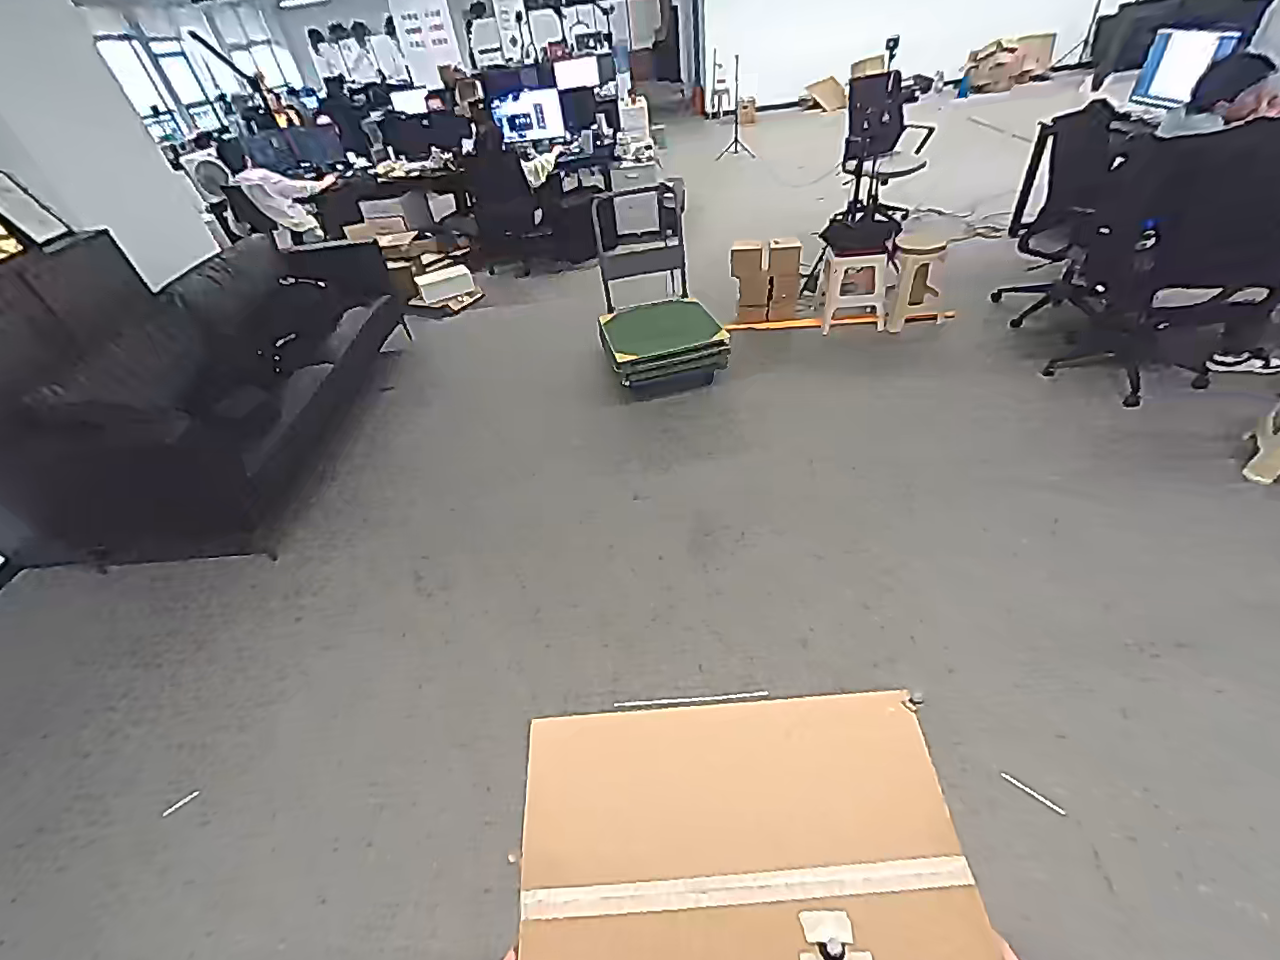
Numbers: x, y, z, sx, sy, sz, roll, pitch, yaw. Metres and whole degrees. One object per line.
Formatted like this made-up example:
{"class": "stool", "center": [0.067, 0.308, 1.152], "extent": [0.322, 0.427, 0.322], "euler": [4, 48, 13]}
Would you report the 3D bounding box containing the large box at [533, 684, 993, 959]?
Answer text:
{"class": "large box", "center": [0.104, 0.454, 0.622], "extent": [0.408, 0.320, 0.320], "euler": [-5, 55, 0]}
